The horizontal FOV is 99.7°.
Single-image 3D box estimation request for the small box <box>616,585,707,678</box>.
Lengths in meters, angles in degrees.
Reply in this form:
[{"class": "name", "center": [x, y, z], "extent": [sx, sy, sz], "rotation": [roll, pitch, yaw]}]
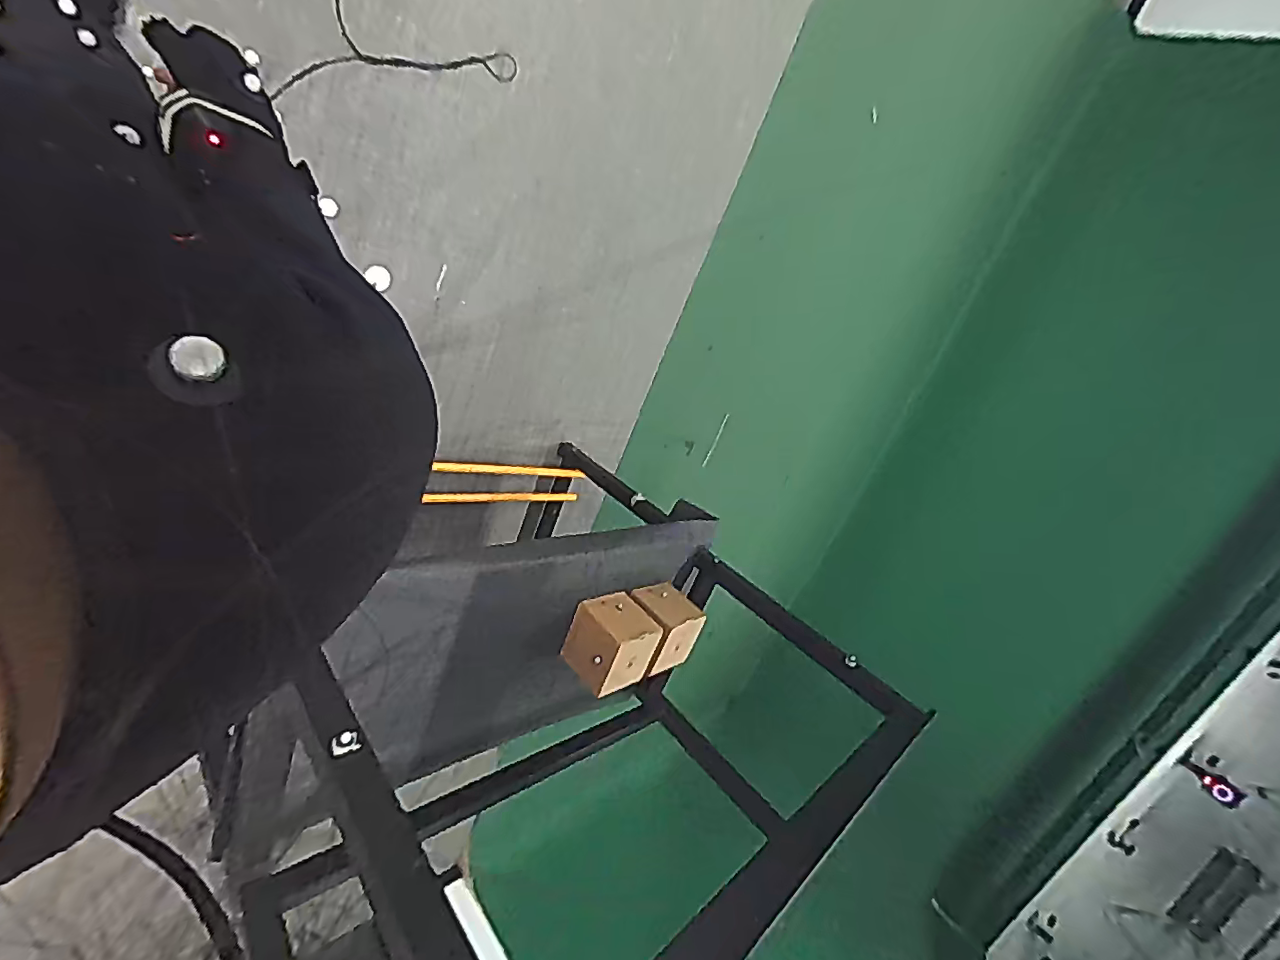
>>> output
[{"class": "small box", "center": [0.056, 0.428, 1.551], "extent": [0.168, 0.176, 0.179], "rotation": [-1, 120, -48]}]
